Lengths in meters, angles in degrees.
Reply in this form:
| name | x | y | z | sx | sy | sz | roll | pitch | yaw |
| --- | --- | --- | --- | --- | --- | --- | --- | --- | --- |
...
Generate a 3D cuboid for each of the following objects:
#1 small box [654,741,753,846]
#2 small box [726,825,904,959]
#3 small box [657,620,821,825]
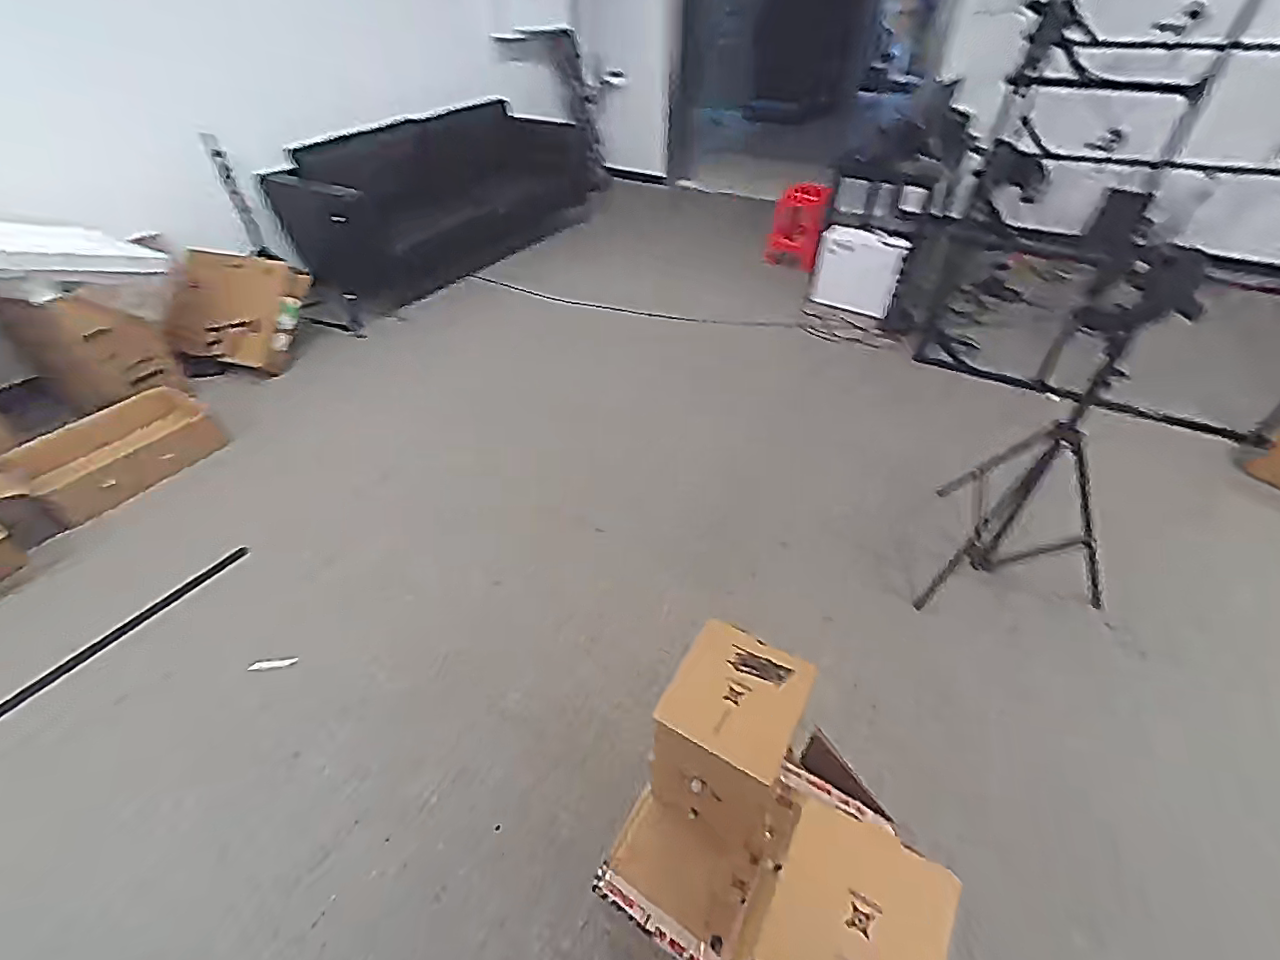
| name | x | y | z | sx | sy | sz | roll | pitch | yaw |
| --- | --- | --- | --- | --- | --- | --- | --- | --- | --- |
| small box | 0.133 | 0.454 | 0.889 | 0.168 | 0.176 | 0.179 | 19 | 48 | 23 |
| small box | 0.222 | 0.613 | 0.718 | 0.168 | 0.176 | 0.179 | 23 | 49 | 23 |
| small box | 0.136 | 0.342 | 0.768 | 0.168 | 0.176 | 0.179 | 22 | 50 | 25 |
